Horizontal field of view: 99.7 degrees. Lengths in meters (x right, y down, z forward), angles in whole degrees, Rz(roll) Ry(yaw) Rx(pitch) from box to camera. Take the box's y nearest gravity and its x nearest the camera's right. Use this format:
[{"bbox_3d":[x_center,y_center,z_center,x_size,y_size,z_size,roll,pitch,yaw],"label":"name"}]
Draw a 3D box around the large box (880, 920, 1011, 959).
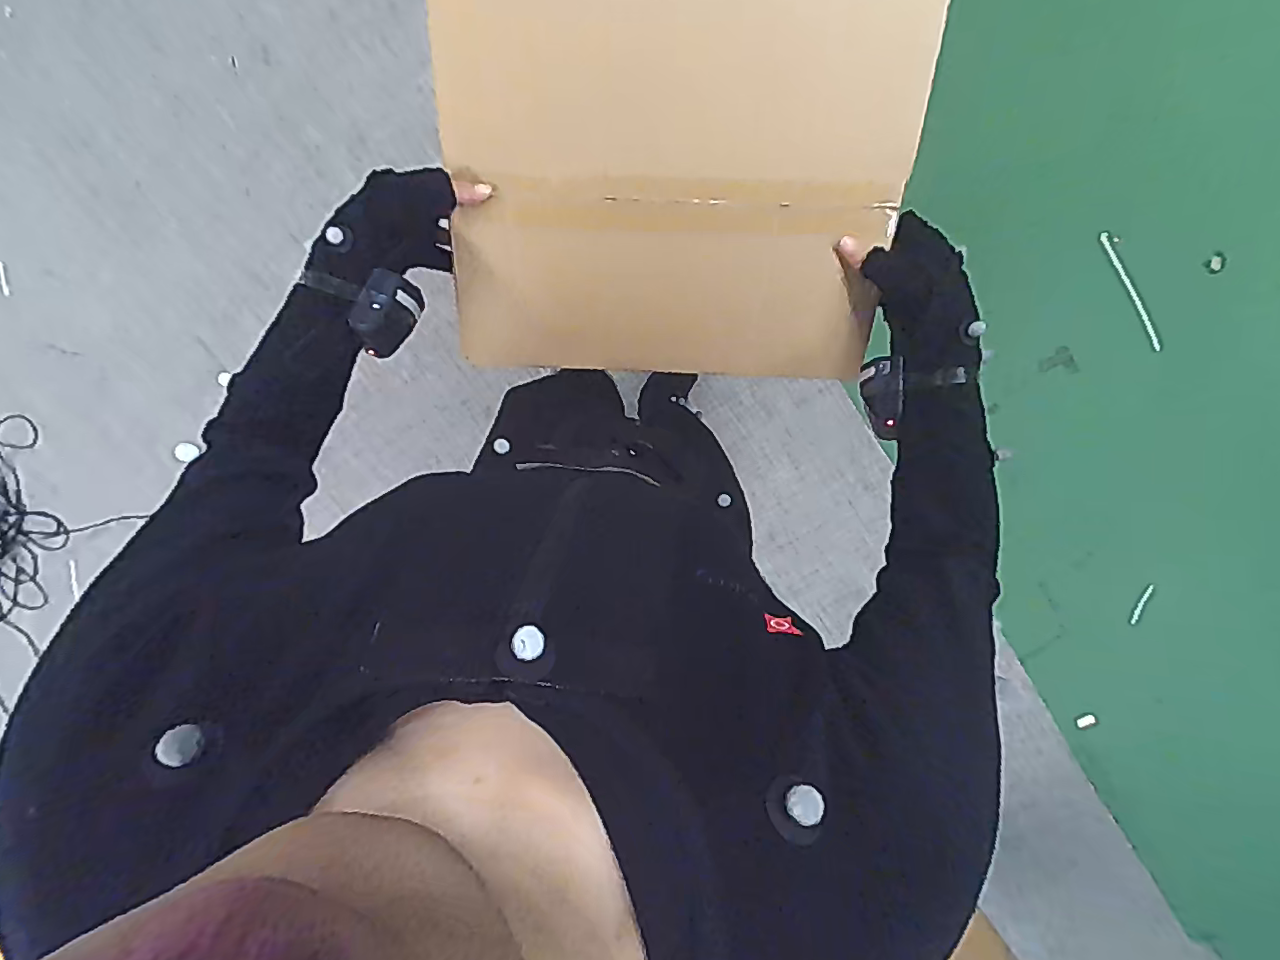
[{"bbox_3d":[0.755,1.338,1.252,0.408,0.320,0.320,-33,102,11],"label":"large box"}]
